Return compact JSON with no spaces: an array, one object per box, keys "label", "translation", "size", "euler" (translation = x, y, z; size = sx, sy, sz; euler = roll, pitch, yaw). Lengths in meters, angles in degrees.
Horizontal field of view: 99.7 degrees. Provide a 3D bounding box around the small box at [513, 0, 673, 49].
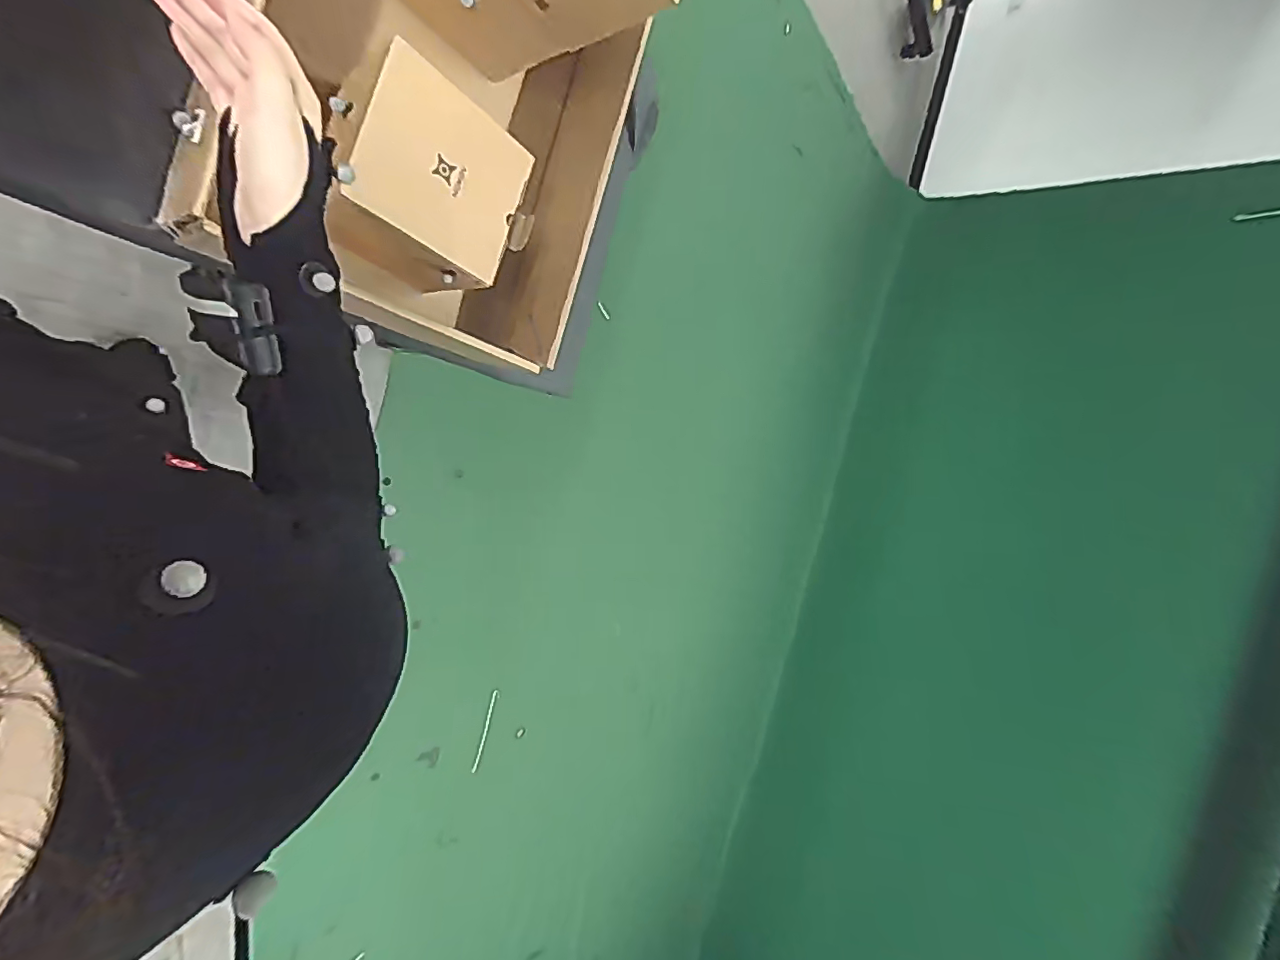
[{"label":"small box","translation":[-0.055,-0.580,0.526],"size":[0.168,0.176,0.179],"euler":[16,92,-50]}]
